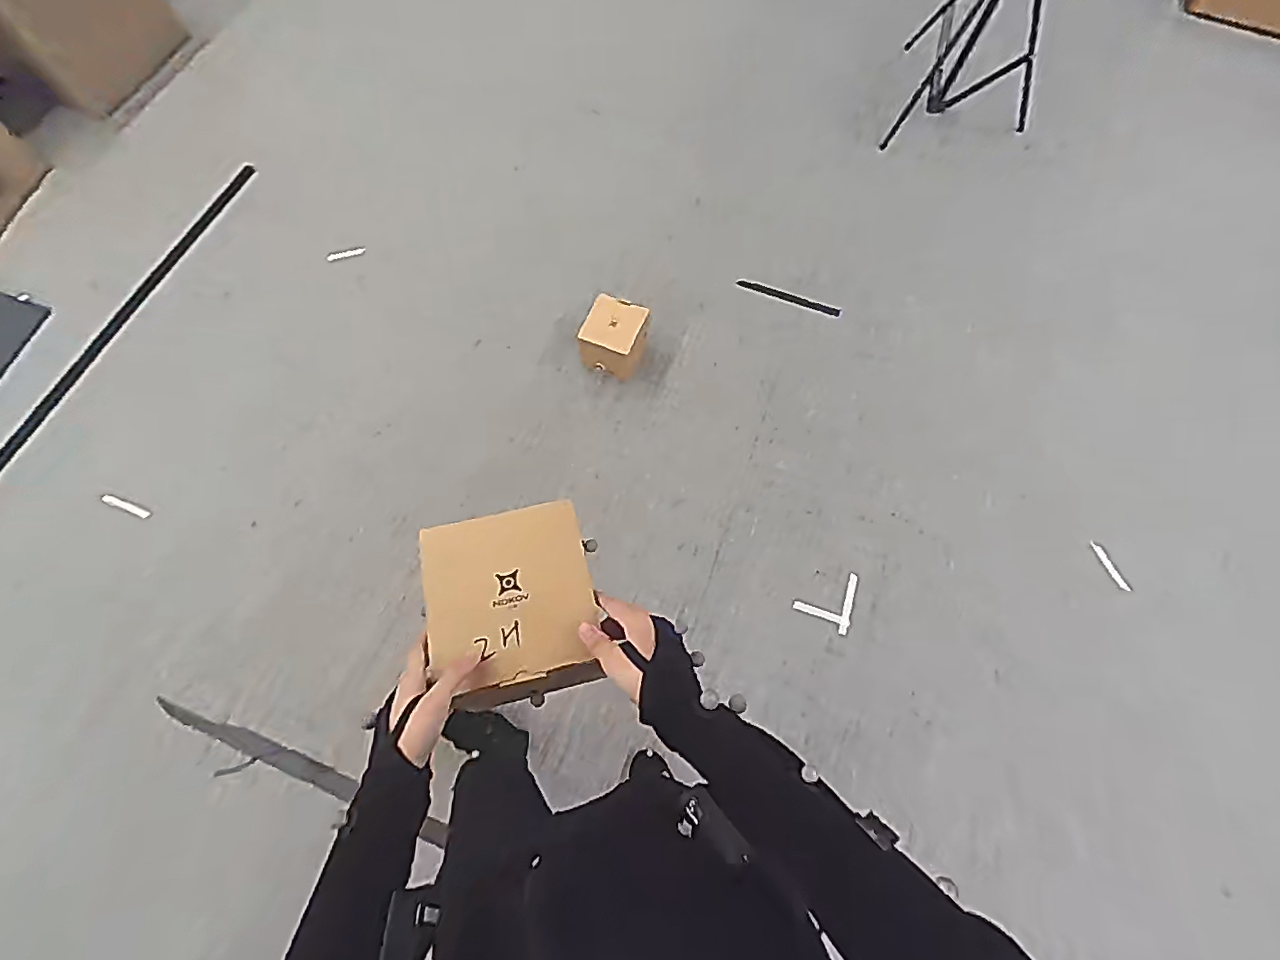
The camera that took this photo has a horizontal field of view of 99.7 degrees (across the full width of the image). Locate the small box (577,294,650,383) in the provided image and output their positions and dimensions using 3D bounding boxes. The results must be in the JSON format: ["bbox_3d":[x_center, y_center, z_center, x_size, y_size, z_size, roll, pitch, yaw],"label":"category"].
[{"bbox_3d":[-0.080,-0.434,1.671,0.168,0.176,0.179,21,71,7],"label":"small box"}]

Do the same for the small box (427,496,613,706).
[{"bbox_3d":[-0.128,0.141,0.605,0.168,0.176,0.179,-11,66,-8],"label":"small box"}]
